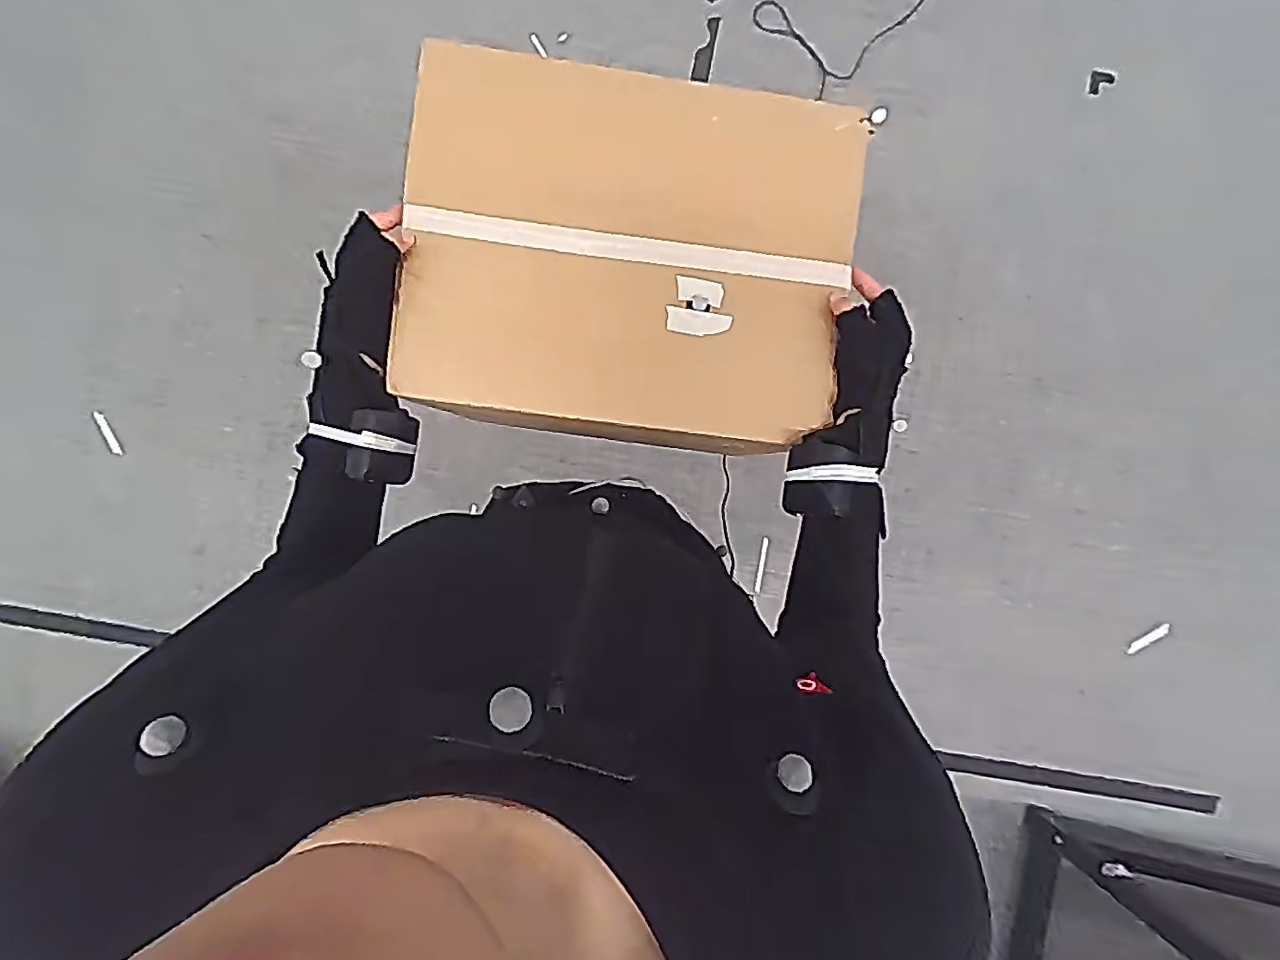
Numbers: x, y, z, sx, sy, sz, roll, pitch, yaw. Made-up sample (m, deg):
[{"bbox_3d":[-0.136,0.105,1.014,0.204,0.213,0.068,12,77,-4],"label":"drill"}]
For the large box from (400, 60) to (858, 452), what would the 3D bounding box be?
[{"bbox_3d":[-0.017,-0.210,0.647,0.408,0.320,0.320,7,92,-4],"label":"large box"}]
